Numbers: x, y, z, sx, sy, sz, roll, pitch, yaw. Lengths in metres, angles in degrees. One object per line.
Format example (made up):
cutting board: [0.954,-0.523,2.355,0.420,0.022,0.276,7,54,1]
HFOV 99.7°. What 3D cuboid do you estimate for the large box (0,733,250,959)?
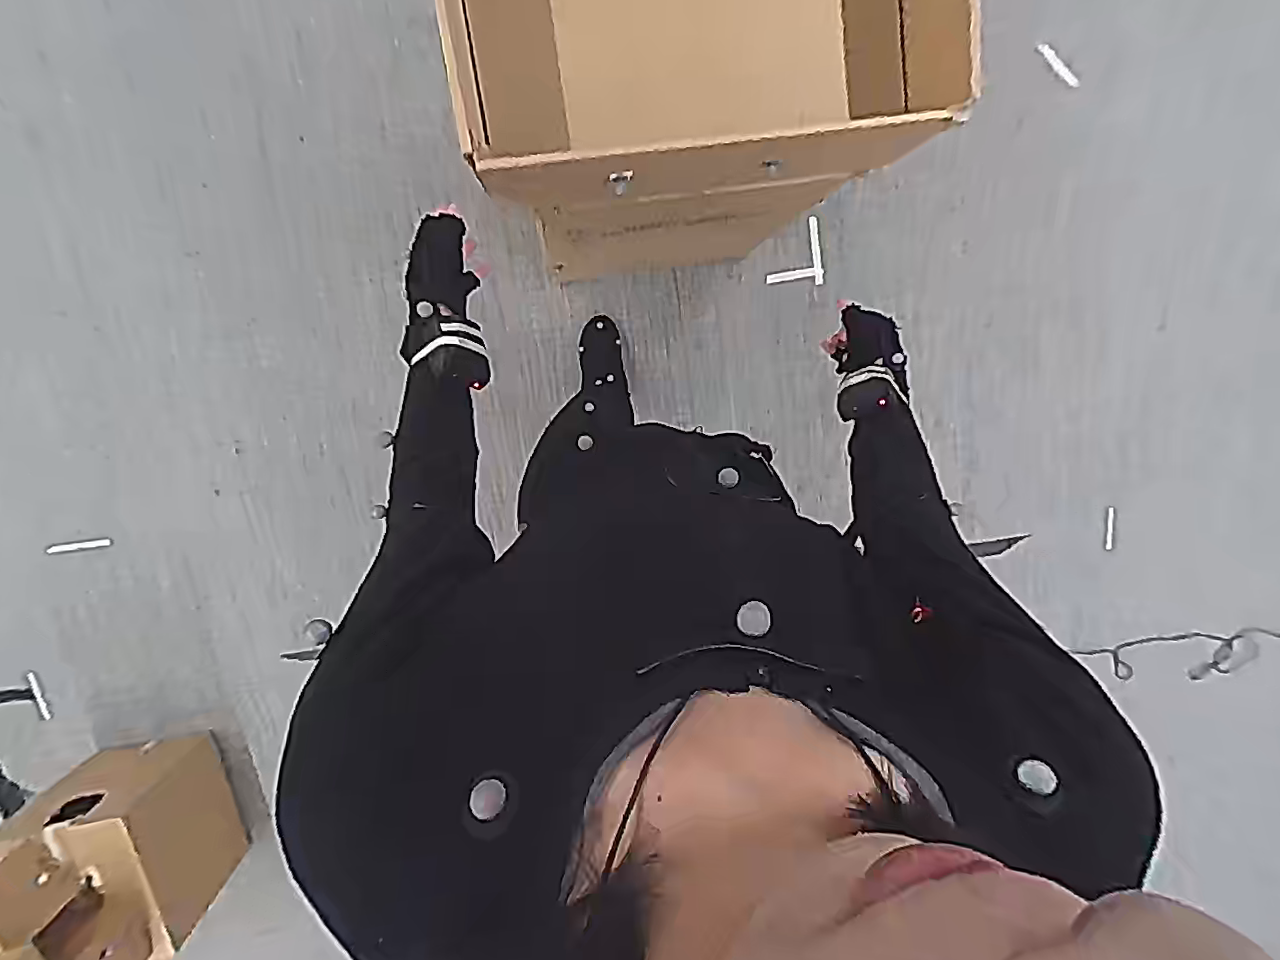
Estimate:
large box: [-1.303,0.946,1.393,0.320,0.320,0.408,-10,100,-5]

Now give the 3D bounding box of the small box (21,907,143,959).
small box: [-1.241,1.079,1.176,0.179,0.176,0.168,-10,99,-3]
